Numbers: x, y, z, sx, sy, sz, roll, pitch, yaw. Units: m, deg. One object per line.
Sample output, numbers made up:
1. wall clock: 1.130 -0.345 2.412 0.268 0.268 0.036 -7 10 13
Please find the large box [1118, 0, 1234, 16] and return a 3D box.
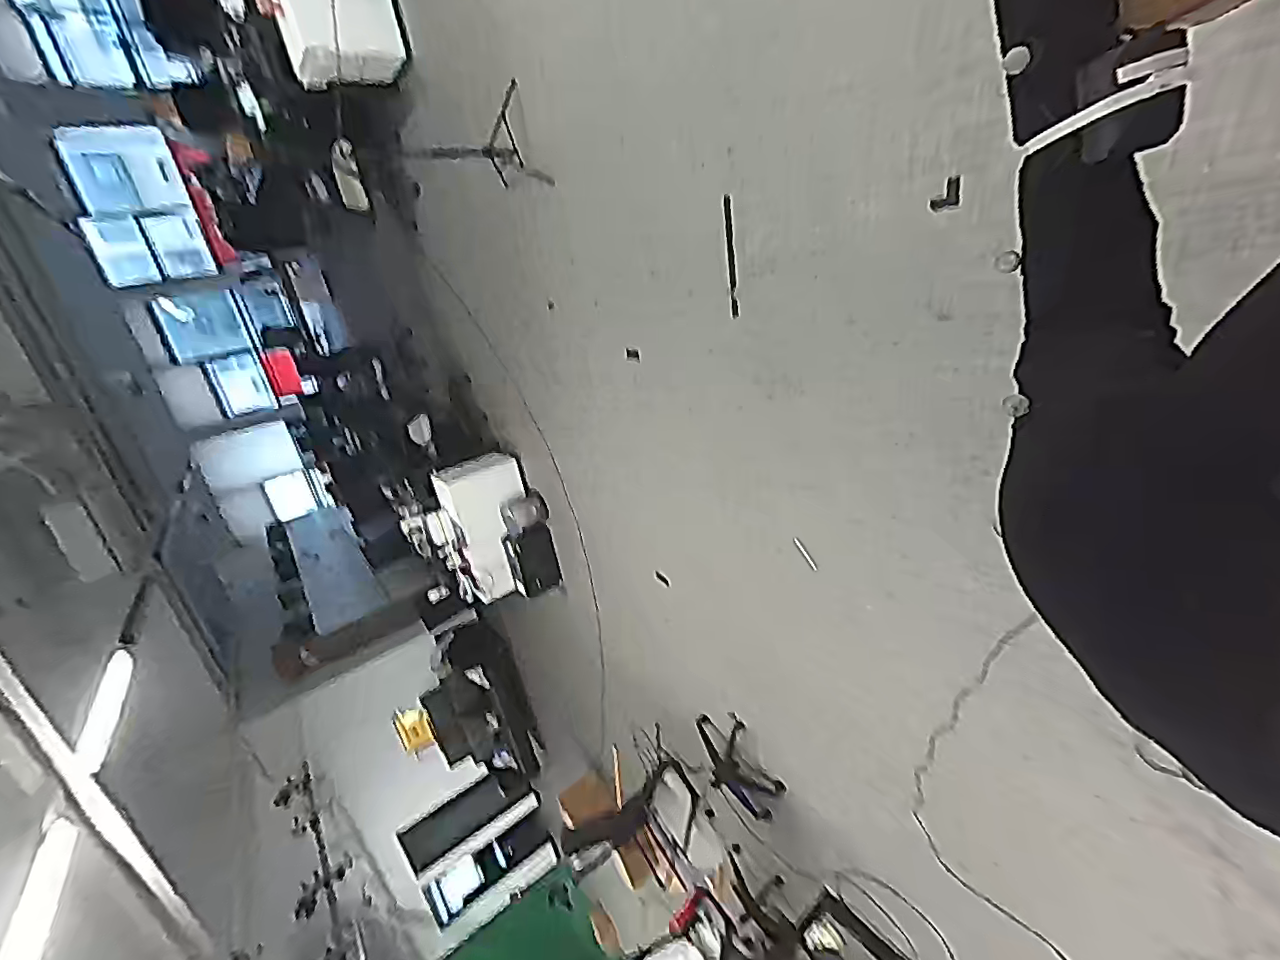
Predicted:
1. large box: 0.473 -0.523 0.244 0.408 0.320 0.320 -6 113 57
